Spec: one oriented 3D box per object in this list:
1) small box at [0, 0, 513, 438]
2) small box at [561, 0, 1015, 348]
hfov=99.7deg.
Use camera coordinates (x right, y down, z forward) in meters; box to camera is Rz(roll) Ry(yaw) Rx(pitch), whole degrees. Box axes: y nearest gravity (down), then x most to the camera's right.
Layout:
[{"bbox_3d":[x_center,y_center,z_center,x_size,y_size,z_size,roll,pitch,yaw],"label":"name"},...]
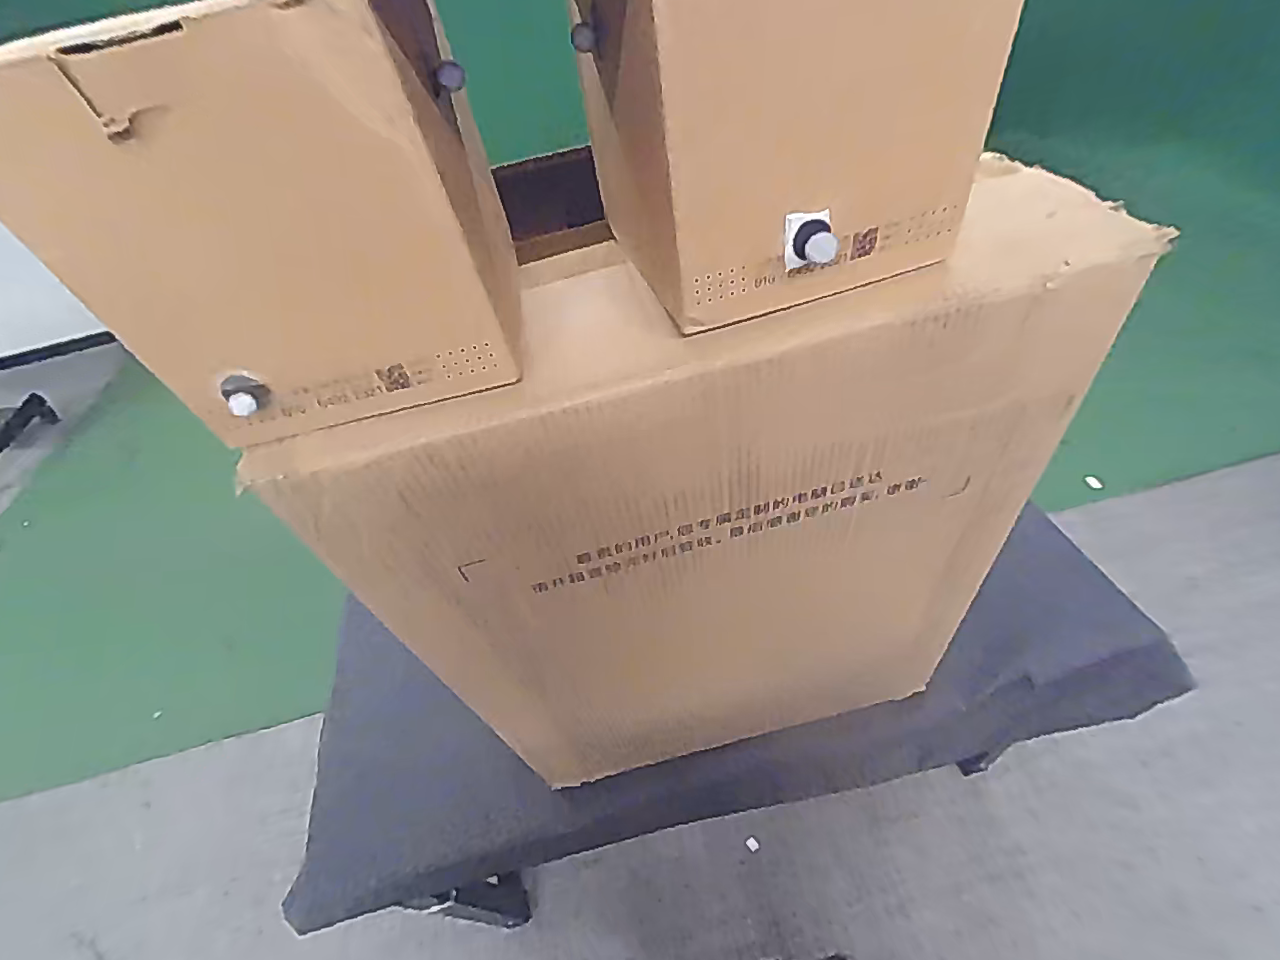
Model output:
[{"bbox_3d":[-0.176,-0.141,0.298,0.168,0.176,0.179,-13,45,0],"label":"small box"},{"bbox_3d":[0.062,-0.204,0.305,0.168,0.176,0.179,-20,48,-5],"label":"small box"}]
